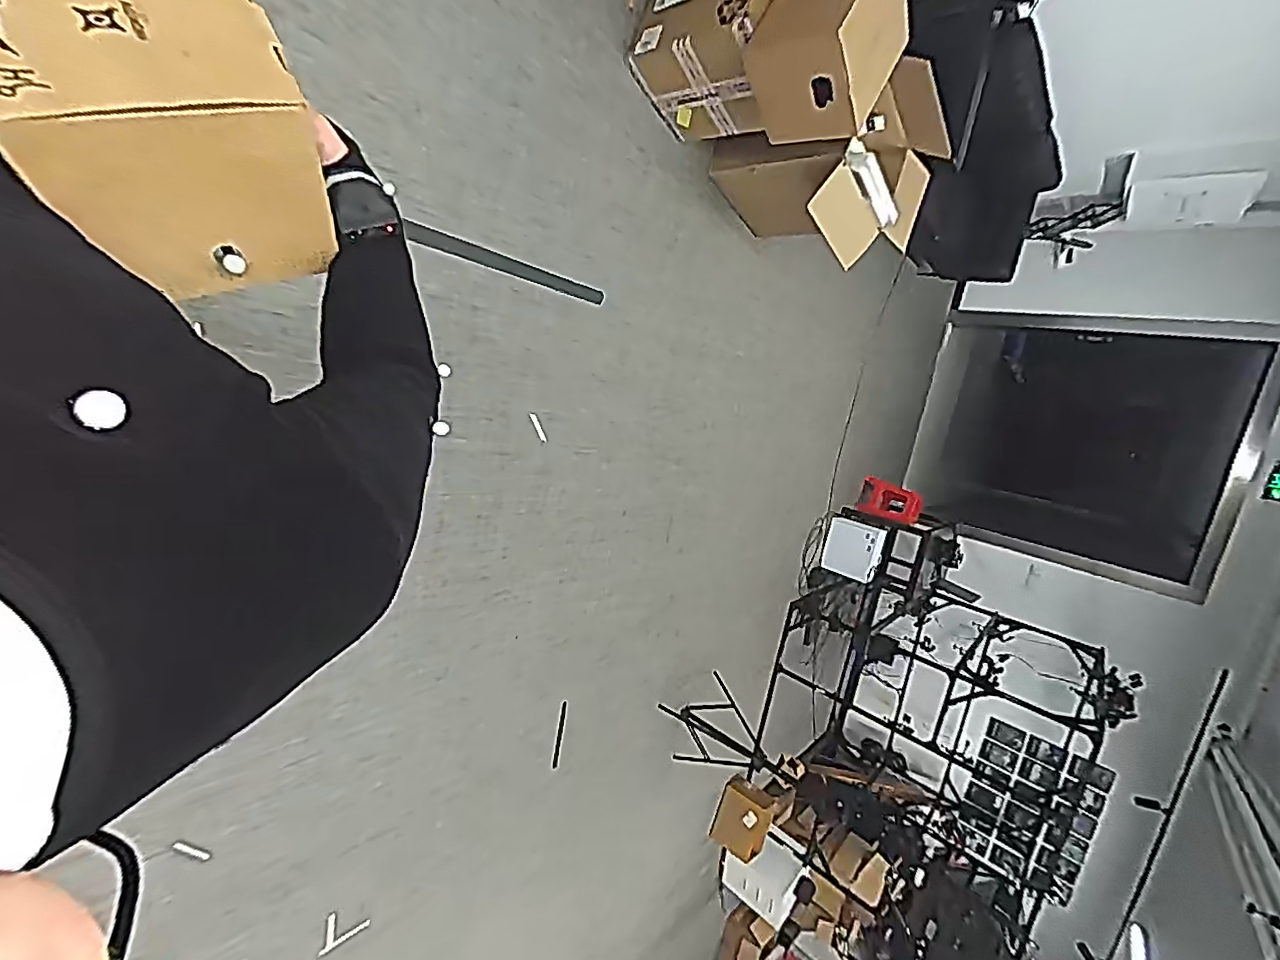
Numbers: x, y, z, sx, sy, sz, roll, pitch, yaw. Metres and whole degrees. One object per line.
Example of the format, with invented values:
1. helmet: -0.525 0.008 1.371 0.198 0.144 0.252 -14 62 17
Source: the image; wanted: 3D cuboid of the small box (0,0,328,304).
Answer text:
1. small box: -0.384 -0.277 0.450 0.179 0.168 0.176 -26 168 -28
